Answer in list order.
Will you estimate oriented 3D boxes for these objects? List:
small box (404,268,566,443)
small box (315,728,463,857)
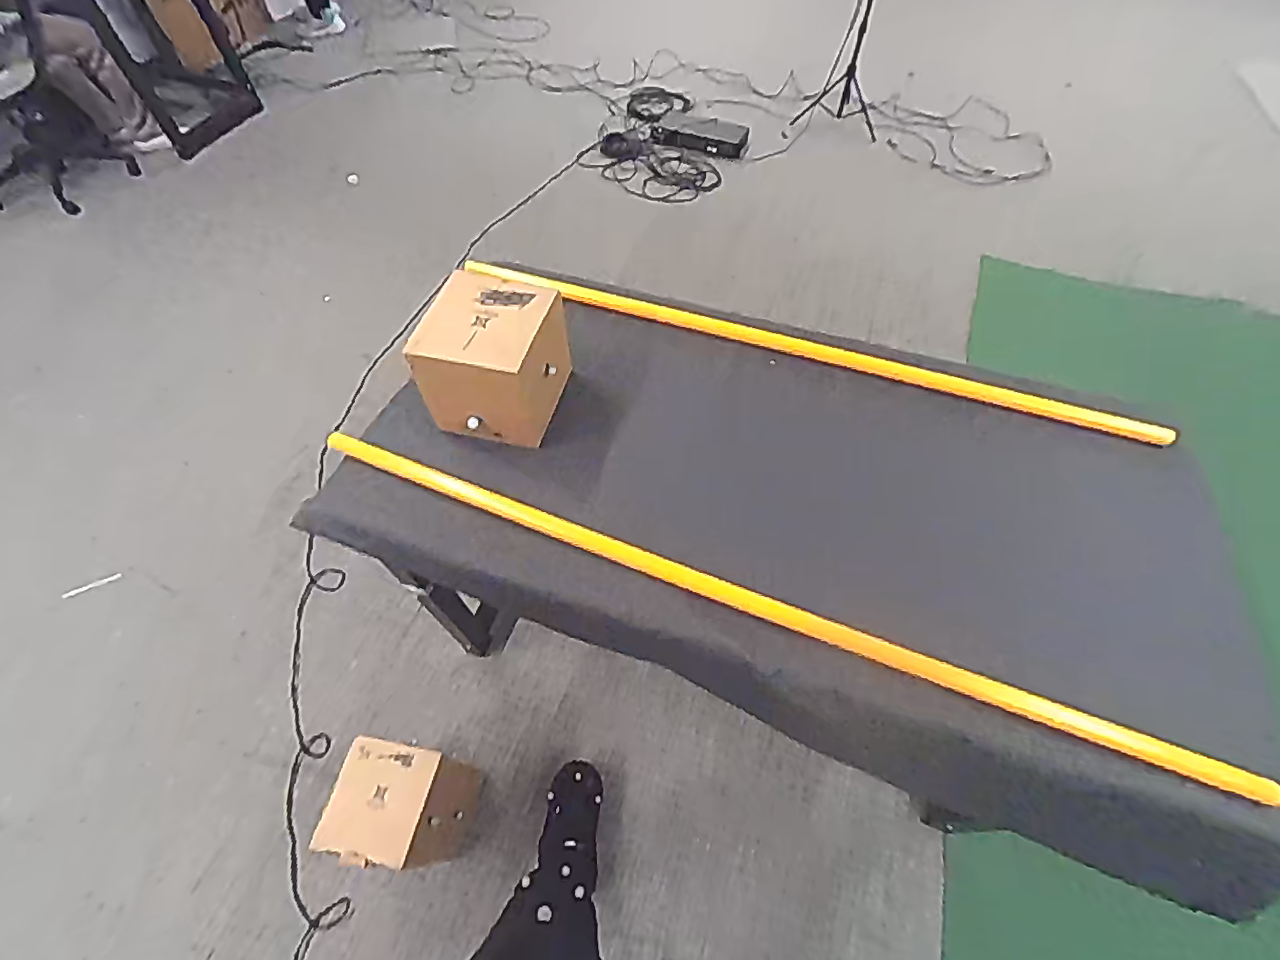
[{"bbox_3d":[-0.215,-0.184,0.812,0.168,0.176,0.179,11,58,7],"label":"small box"},{"bbox_3d":[-0.447,0.576,1.000,0.168,0.176,0.179,6,57,5],"label":"small box"}]
